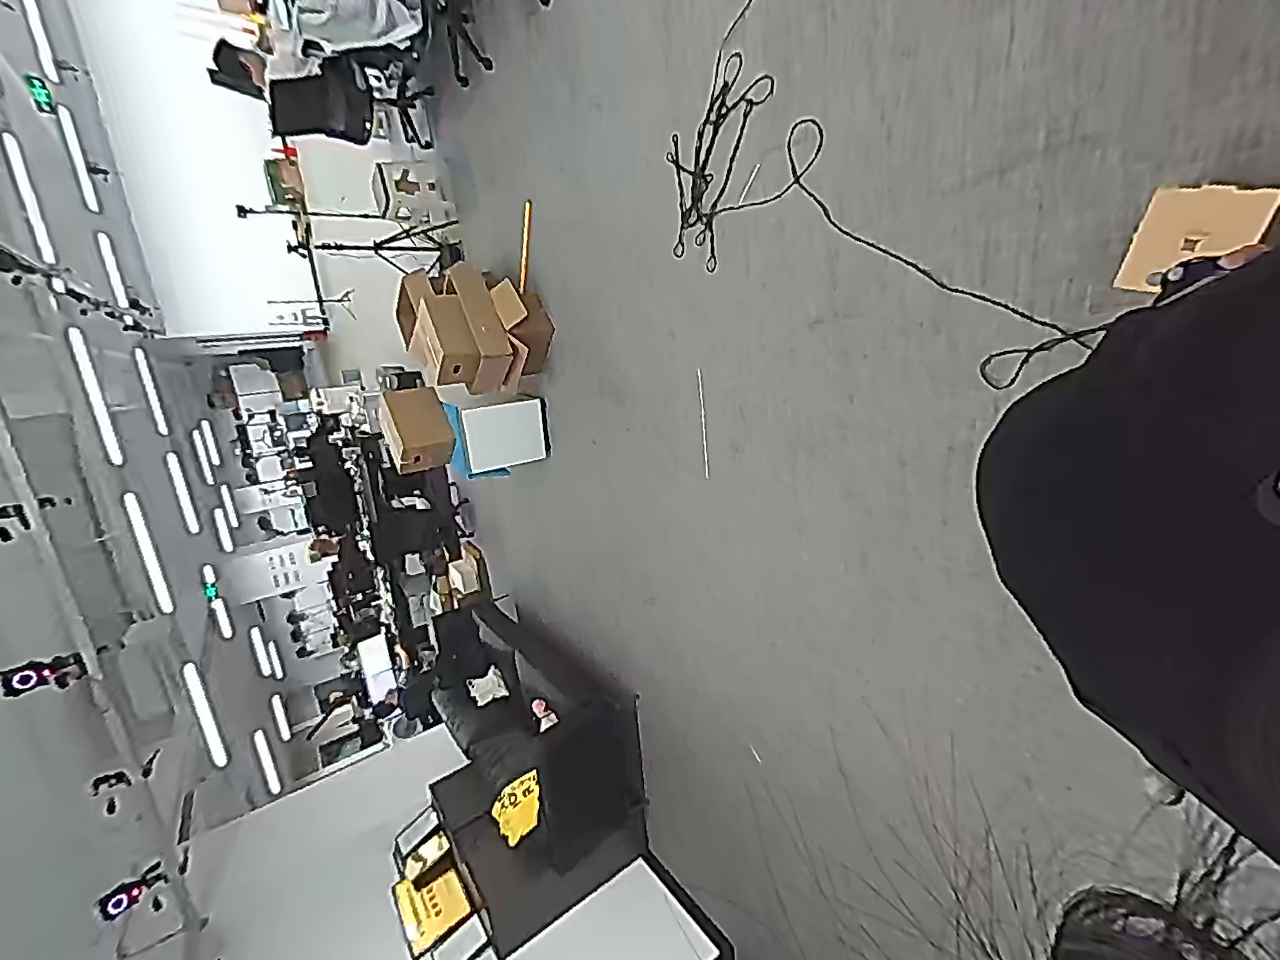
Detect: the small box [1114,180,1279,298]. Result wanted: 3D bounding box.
[{"bbox_3d":[1.027,-0.440,0.986,0.168,0.176,0.179,36,131,45],"label":"small box"}]
